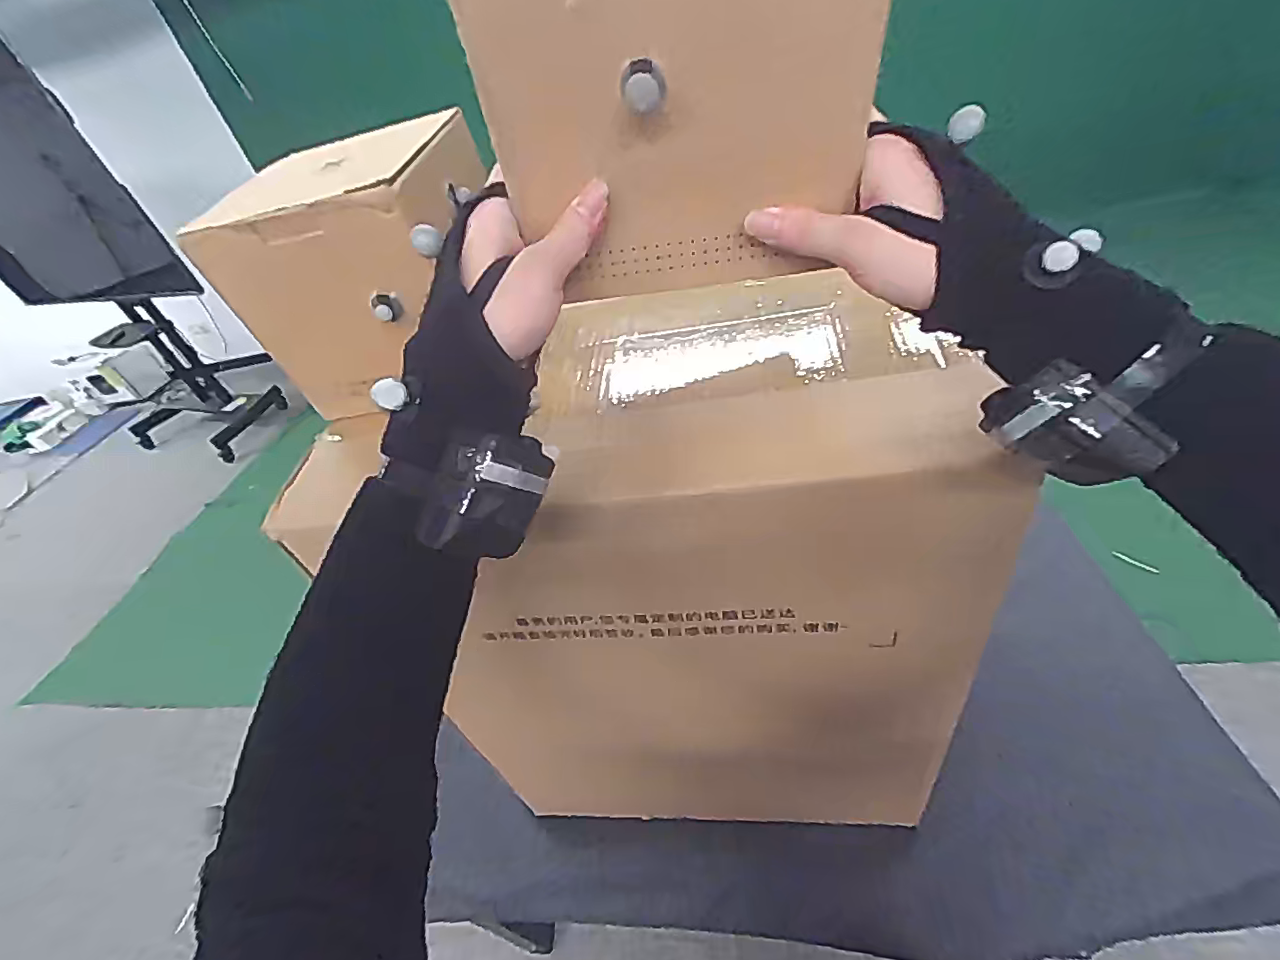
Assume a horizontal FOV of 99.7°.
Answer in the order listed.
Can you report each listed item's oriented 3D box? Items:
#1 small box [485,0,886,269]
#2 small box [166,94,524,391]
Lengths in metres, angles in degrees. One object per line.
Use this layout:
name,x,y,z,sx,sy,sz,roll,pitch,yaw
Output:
small box,0.022,-0.233,0.294,0.179,0.176,0.168,-6,49,4
small box,-0.210,-0.188,0.450,0.168,0.176,0.179,-7,44,8
